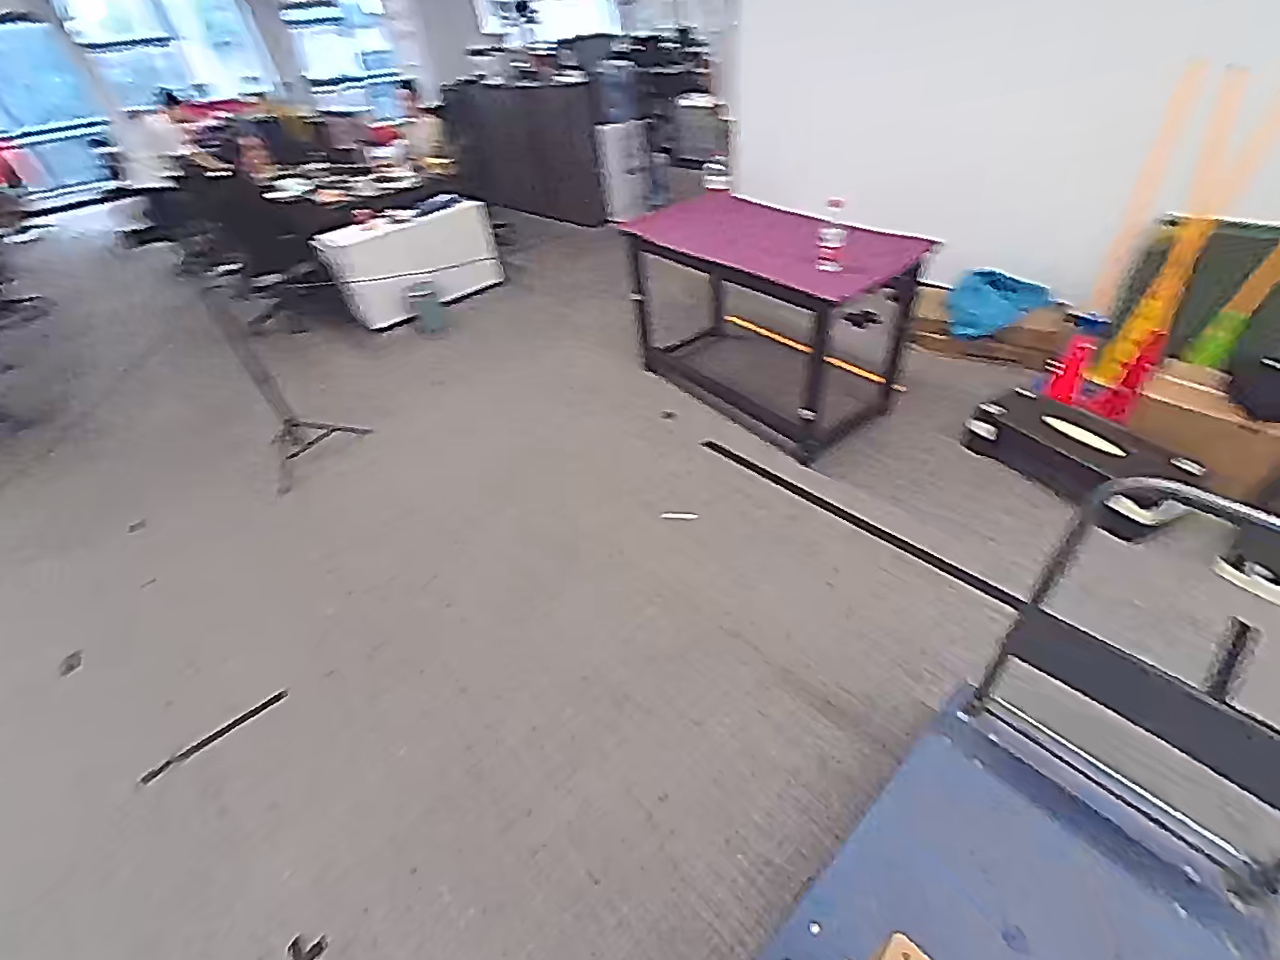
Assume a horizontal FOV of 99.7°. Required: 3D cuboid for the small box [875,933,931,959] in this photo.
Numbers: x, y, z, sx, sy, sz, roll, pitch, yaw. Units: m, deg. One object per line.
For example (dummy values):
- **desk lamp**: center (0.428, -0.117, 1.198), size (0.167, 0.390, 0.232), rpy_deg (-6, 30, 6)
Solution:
- **small box**: center (0.362, 0.759, 0.708), size (0.179, 0.176, 0.168), rpy_deg (-36, 49, -28)
